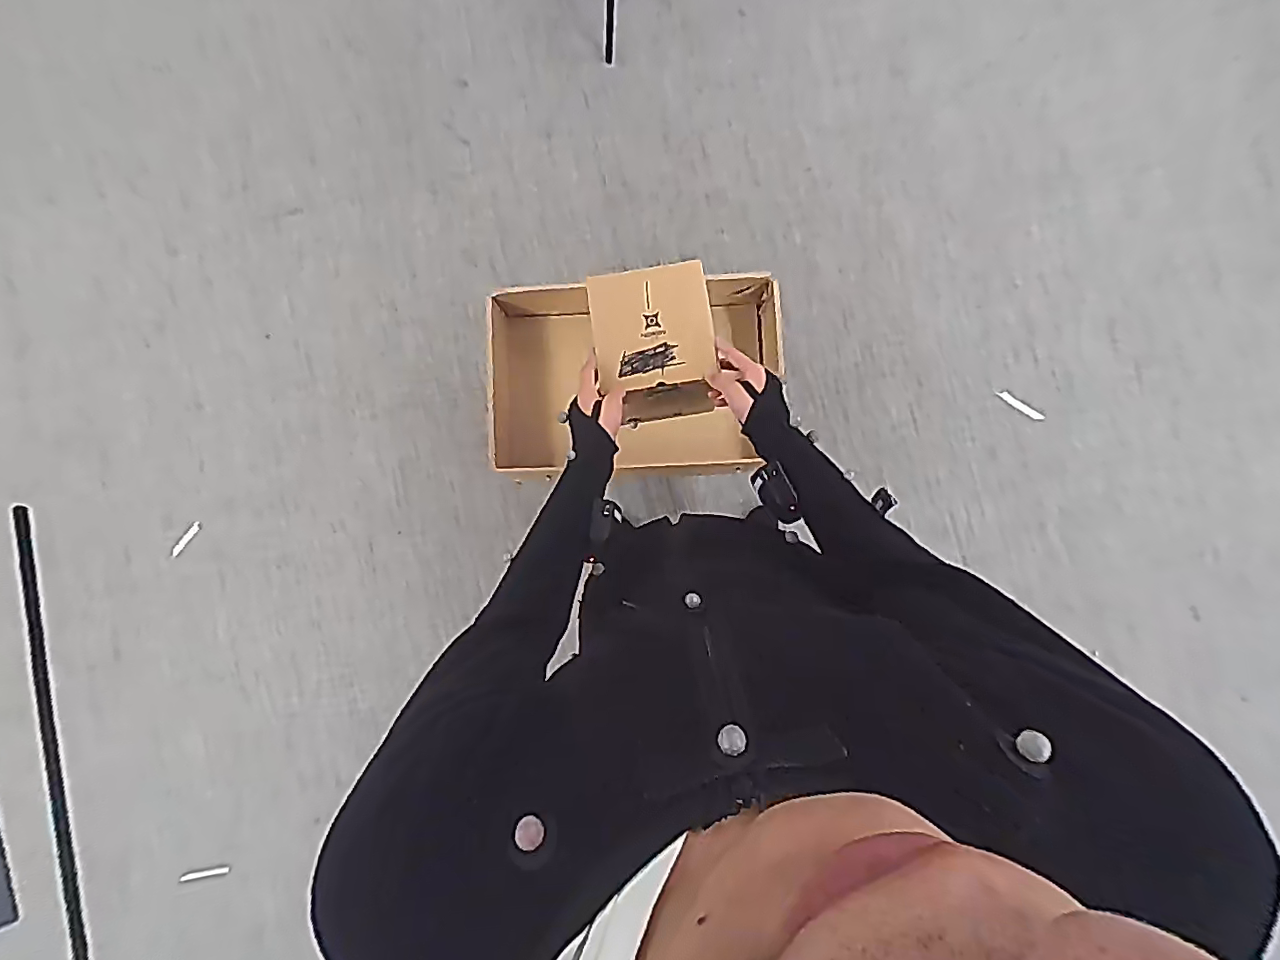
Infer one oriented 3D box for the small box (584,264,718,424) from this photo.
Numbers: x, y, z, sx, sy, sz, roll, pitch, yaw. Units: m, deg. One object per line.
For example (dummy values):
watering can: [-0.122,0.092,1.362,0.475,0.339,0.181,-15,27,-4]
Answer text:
small box: [0.020,-0.190,0.813,0.168,0.176,0.179,-9,80,2]
